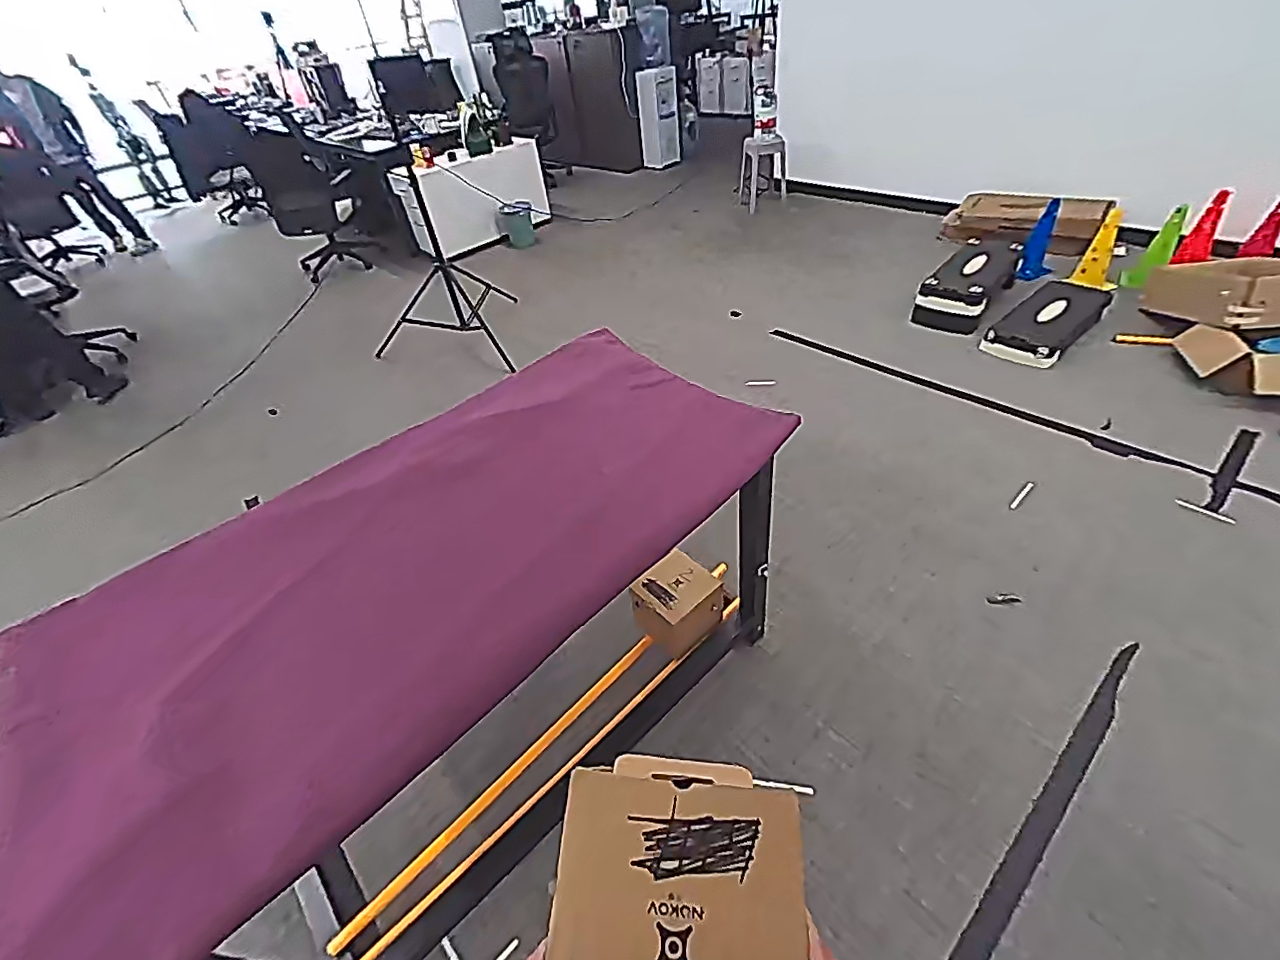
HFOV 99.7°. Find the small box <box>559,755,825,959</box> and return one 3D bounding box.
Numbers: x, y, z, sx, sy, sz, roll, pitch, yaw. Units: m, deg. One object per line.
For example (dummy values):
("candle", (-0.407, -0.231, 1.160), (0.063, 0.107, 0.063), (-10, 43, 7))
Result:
("small box", (0.037, 0.327, 0.408), (0.168, 0.176, 0.179), (3, 53, 6))
